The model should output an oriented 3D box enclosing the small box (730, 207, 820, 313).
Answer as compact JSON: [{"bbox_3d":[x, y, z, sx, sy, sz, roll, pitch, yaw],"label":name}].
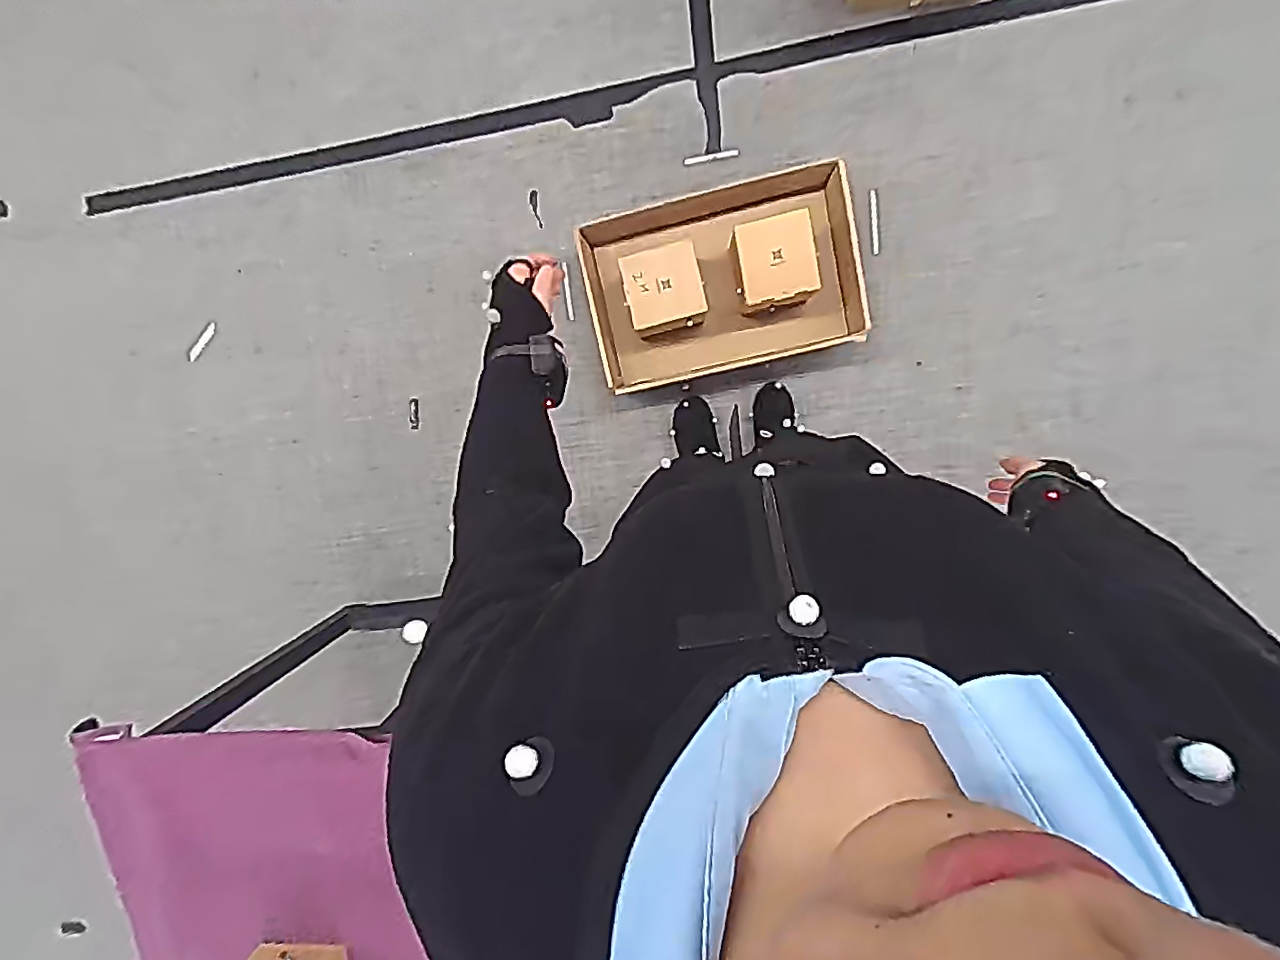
[{"bbox_3d":[0.310,-0.508,1.272,0.168,0.176,0.179,-11,98,8],"label":"small box"}]

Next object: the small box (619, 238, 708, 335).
[{"bbox_3d":[0.057,-0.456,1.300,0.179,0.176,0.168,-13,97,6],"label":"small box"}]
